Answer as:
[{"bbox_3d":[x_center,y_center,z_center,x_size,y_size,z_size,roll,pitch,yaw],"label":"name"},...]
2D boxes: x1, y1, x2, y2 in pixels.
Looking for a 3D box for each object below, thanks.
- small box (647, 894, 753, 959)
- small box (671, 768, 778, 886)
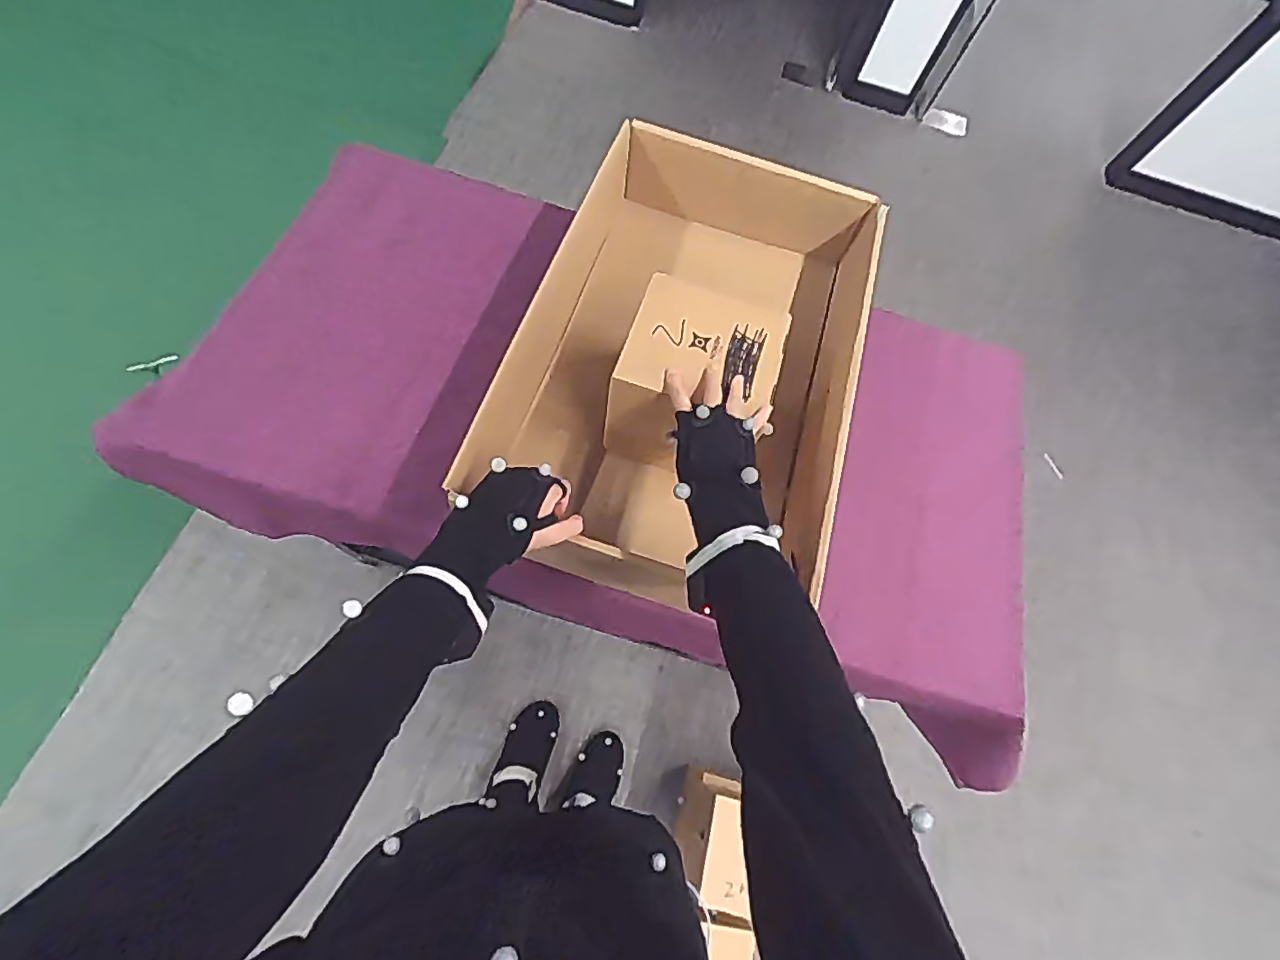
[{"bbox_3d":[0.113,0.976,1.099,0.179,0.176,0.168,13,67,-3],"label":"small box"},{"bbox_3d":[0.182,0.754,1.196,0.179,0.176,0.168,16,67,1],"label":"small box"}]
